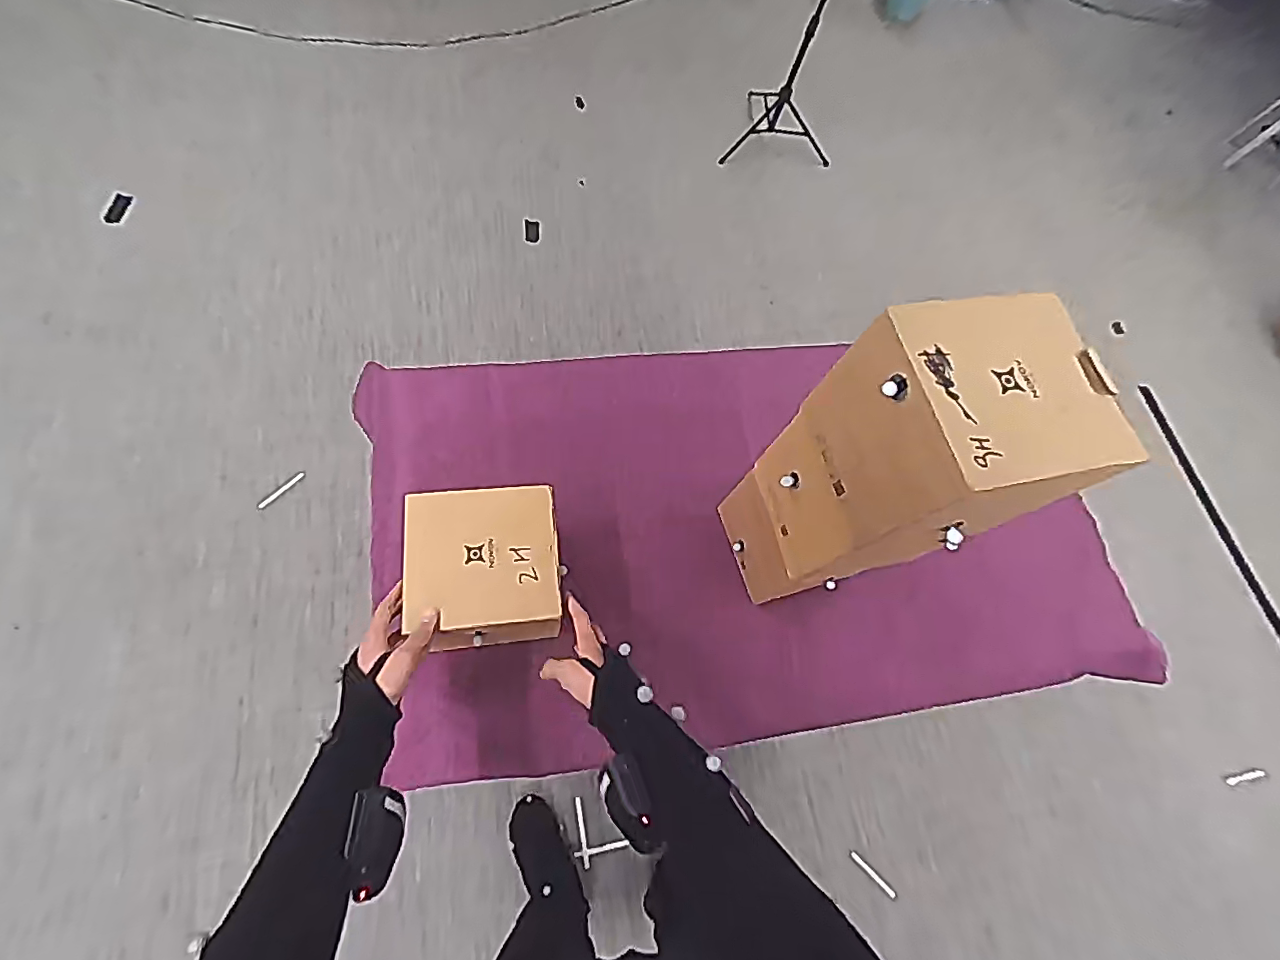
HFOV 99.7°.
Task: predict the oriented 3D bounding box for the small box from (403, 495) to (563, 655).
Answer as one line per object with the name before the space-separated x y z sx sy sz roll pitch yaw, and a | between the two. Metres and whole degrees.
small box | -0.194 0.129 0.704 0.179 0.176 0.168 -2 67 -12

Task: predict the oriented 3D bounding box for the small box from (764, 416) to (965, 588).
small box | 0.267 0.025 0.655 0.179 0.176 0.168 -8 69 -13

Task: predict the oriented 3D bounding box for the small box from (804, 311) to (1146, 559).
small box | 0.286 -0.035 0.504 0.179 0.176 0.168 -7 68 -14
